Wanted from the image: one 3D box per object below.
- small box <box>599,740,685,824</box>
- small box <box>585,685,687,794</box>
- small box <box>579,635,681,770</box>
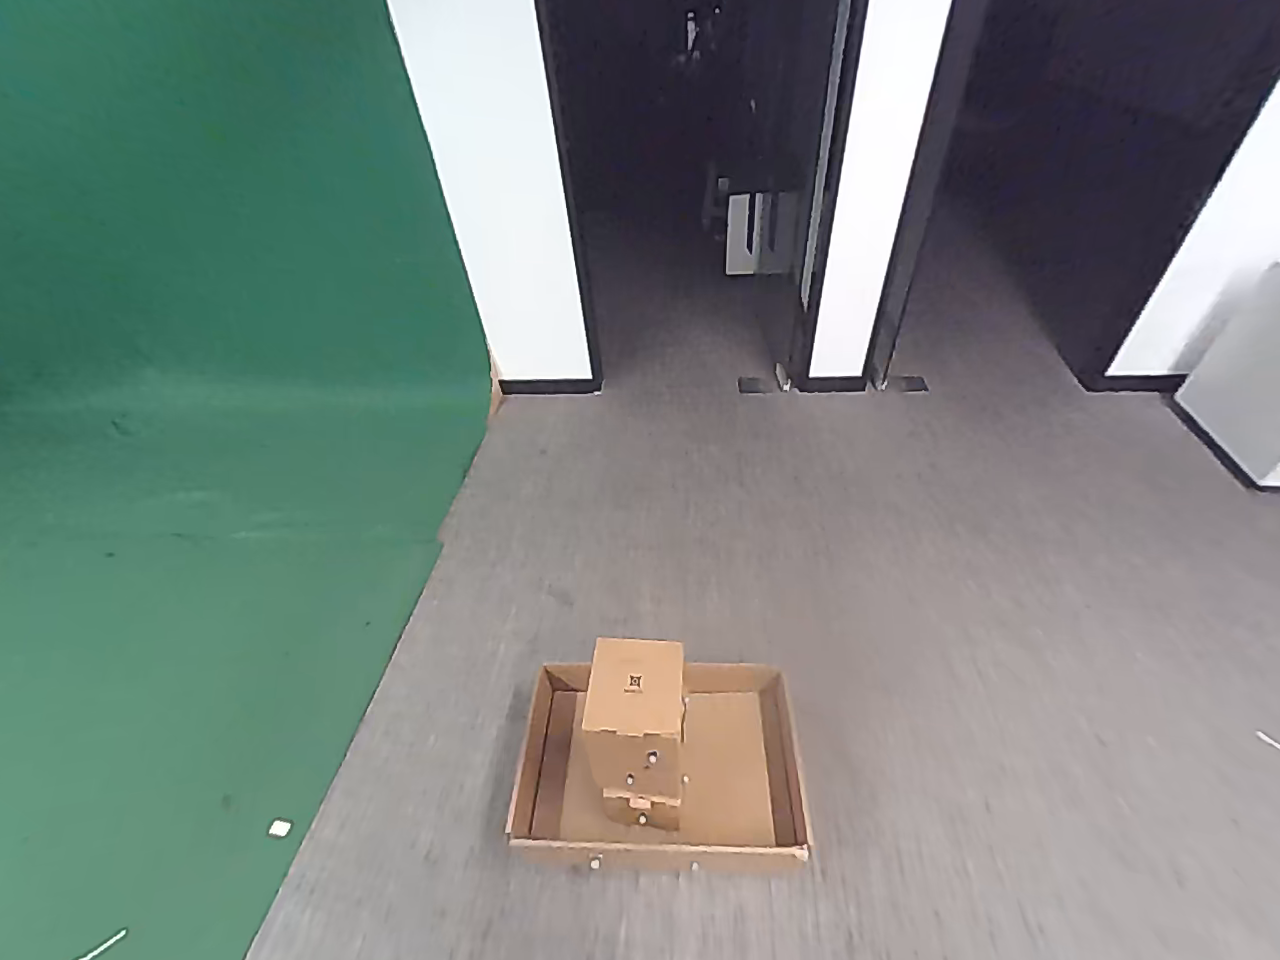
[{"bbox_3d":[0.013,0.654,1.226,0.168,0.176,0.179,4,44,9],"label":"small box"},{"bbox_3d":[0.001,0.527,1.122,0.179,0.176,0.168,5,43,11],"label":"small box"},{"bbox_3d":[-0.009,0.415,1.005,0.168,0.176,0.179,3,41,5],"label":"small box"}]
